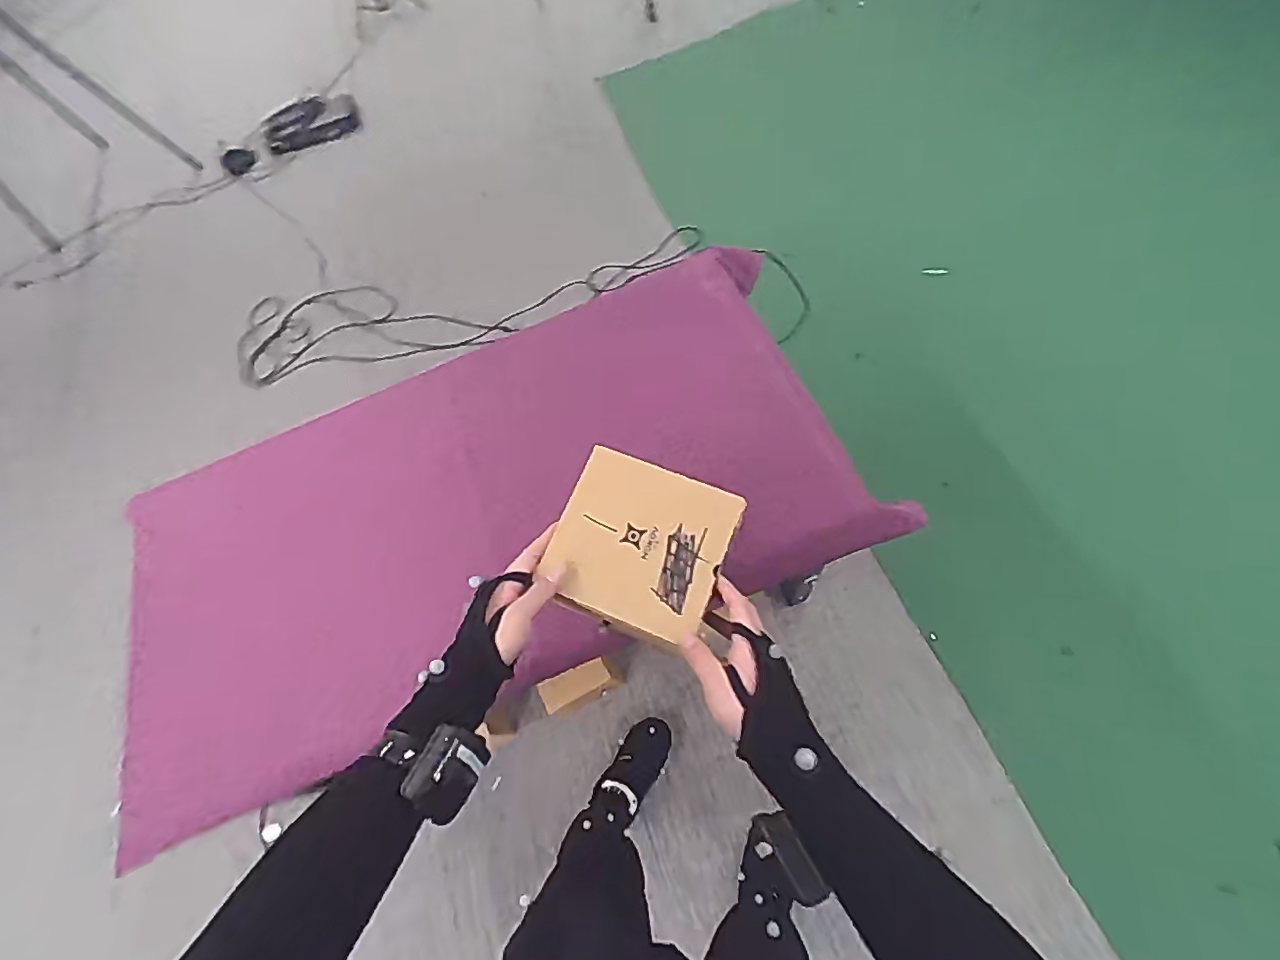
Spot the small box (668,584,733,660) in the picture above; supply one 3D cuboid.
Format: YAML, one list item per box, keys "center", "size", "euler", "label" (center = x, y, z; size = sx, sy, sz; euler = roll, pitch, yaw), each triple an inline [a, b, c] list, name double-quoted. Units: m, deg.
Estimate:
- center: [0.134, 0.355, 1.412]
  size: [0.179, 0.176, 0.168]
  euler: [-22, 63, -2]
  label: "small box"

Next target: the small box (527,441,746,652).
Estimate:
- center: [0.002, 0.086, 0.621]
  size: [0.179, 0.176, 0.168]
  euler: [22, 71, 11]
  label: "small box"

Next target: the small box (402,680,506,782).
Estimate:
- center: [-0.466, 0.635, 1.378]
  size: [0.168, 0.176, 0.179]
  euler: [-31, 64, -6]
  label: "small box"

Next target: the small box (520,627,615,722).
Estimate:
- center: [-0.177, 0.504, 1.392]
  size: [0.179, 0.176, 0.168]
  euler: [-29, 63, -5]
  label: "small box"
